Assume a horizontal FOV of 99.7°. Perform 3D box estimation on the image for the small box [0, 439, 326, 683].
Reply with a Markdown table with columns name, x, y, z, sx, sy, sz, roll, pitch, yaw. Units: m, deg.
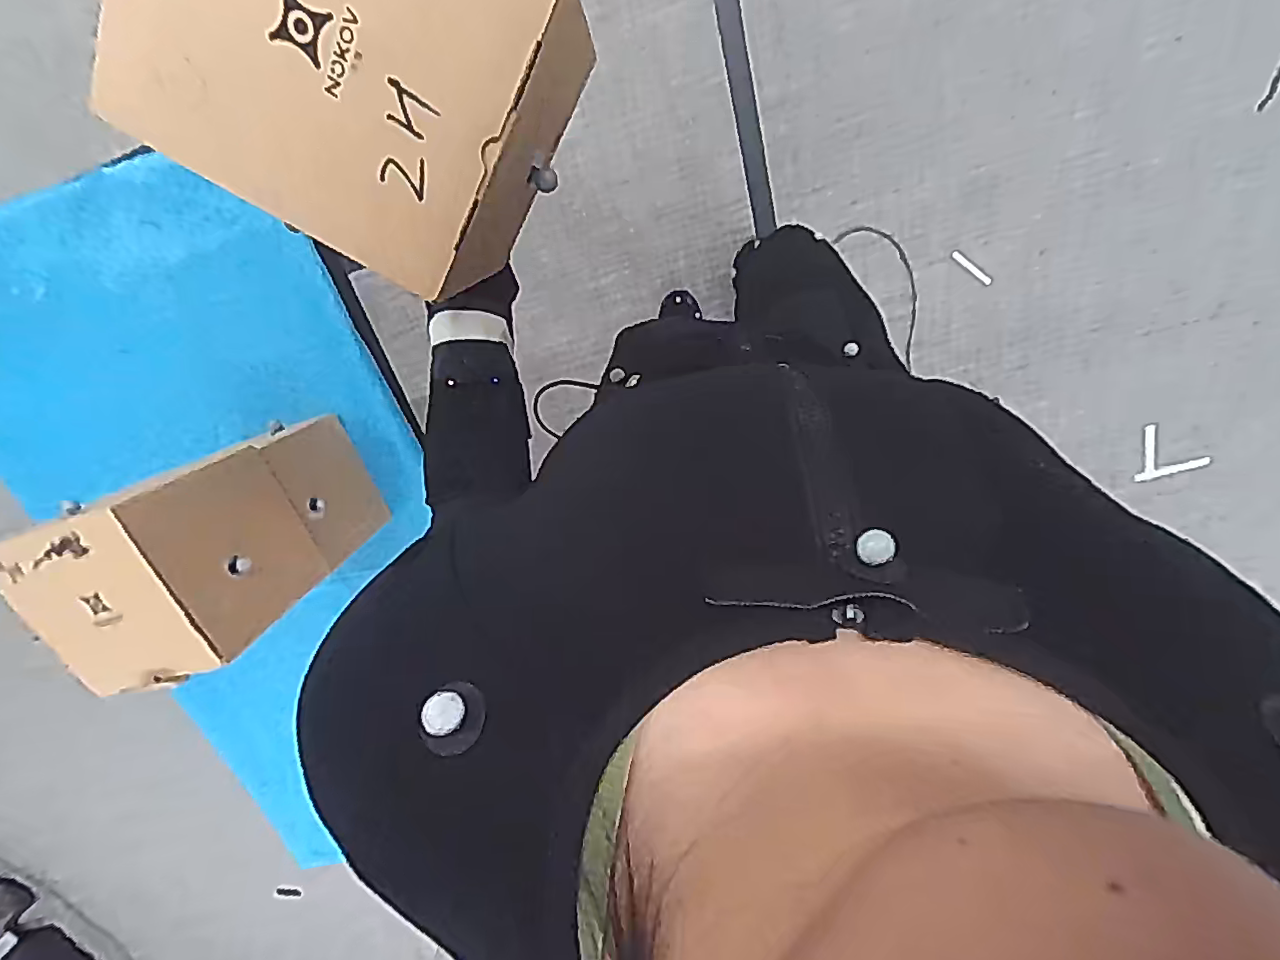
| name | x | y | z | sx | sy | sz | roll | pitch | yaw |
| --- | --- | --- | --- | --- | --- | --- | --- | --- | --- |
| small box | -0.488 | 0.080 | 0.580 | 0.168 | 0.176 | 0.179 | -18 | 110 | 13 |

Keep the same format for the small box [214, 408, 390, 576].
| name | x | y | z | sx | sy | sz | roll | pitch | yaw |
| --- | --- | --- | --- | --- | --- | --- | --- | --- | --- |
| small box | -0.478 | 0.023 | 0.732 | 0.168 | 0.176 | 0.179 | -14 | 112 | 11 |

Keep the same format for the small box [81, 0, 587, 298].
| name | x | y | z | sx | sy | sz | roll | pitch | yaw |
| --- | --- | --- | --- | --- | --- | --- | --- | --- | --- |
| small box | -0.148 | -0.238 | 0.317 | 0.179 | 0.176 | 0.168 | 30 | 115 | -17 |
